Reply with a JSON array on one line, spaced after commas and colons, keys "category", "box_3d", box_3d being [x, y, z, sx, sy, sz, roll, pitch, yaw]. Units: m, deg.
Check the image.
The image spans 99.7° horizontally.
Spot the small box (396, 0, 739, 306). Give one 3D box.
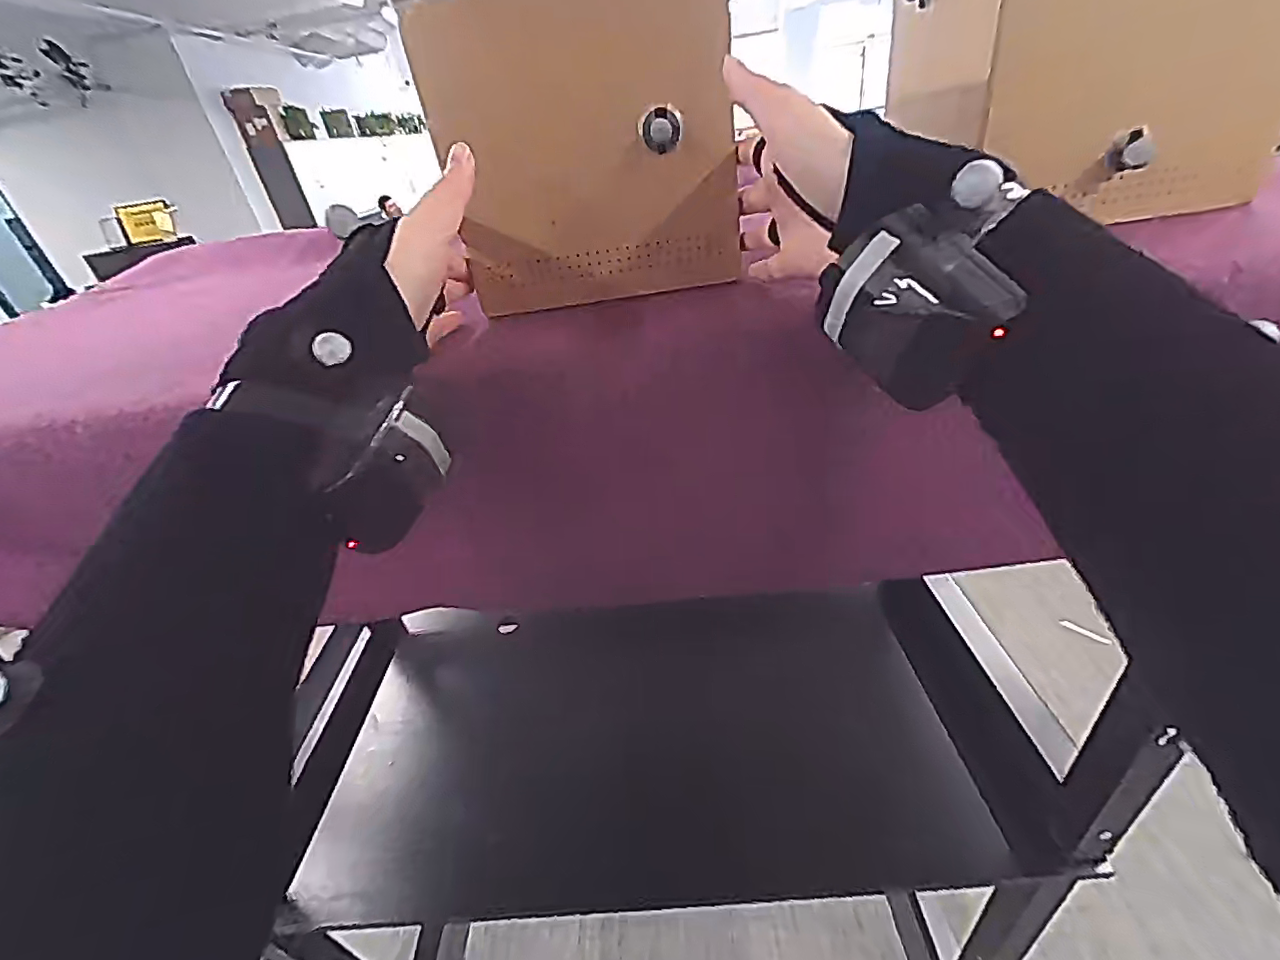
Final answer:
[{"category": "small box", "box_3d": [-0.030, -0.234, 0.374, 0.179, 0.176, 0.168, -8, 32, 3]}]

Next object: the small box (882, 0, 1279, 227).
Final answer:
[{"category": "small box", "box_3d": [0.282, -0.280, 0.358, 0.179, 0.176, 0.168, -6, 32, 5]}]
